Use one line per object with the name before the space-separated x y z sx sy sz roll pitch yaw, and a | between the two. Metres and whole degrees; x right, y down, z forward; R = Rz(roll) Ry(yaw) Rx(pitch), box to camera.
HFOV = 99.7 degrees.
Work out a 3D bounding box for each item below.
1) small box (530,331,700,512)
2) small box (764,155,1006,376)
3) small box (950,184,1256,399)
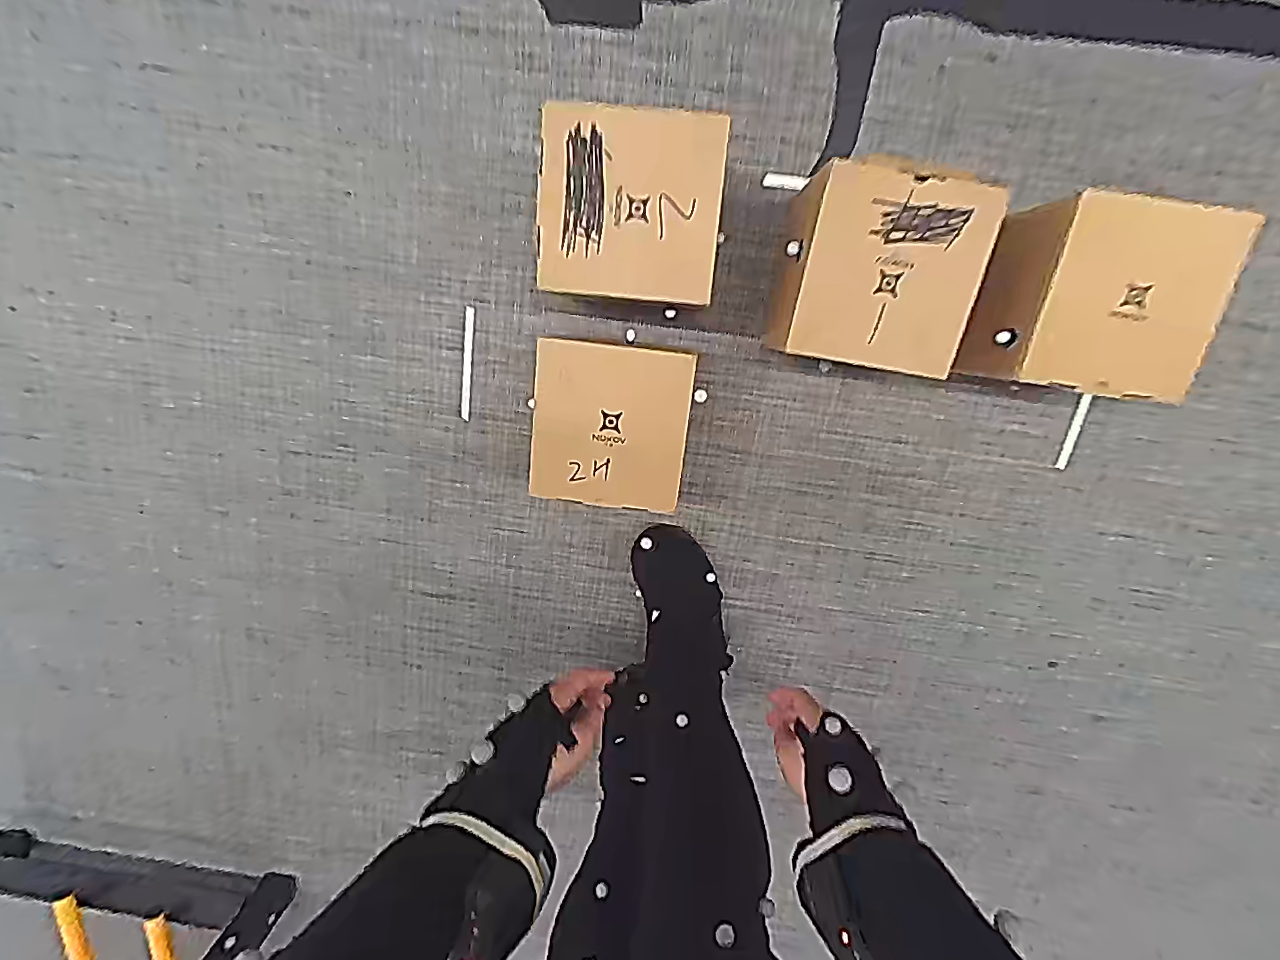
small box | -0.026 -0.079 0.645 0.168 0.176 0.179 7 107 2
small box | 0.243 -0.221 0.590 0.168 0.176 0.179 10 107 0
small box | 0.468 -0.196 0.587 0.168 0.176 0.179 8 107 1
